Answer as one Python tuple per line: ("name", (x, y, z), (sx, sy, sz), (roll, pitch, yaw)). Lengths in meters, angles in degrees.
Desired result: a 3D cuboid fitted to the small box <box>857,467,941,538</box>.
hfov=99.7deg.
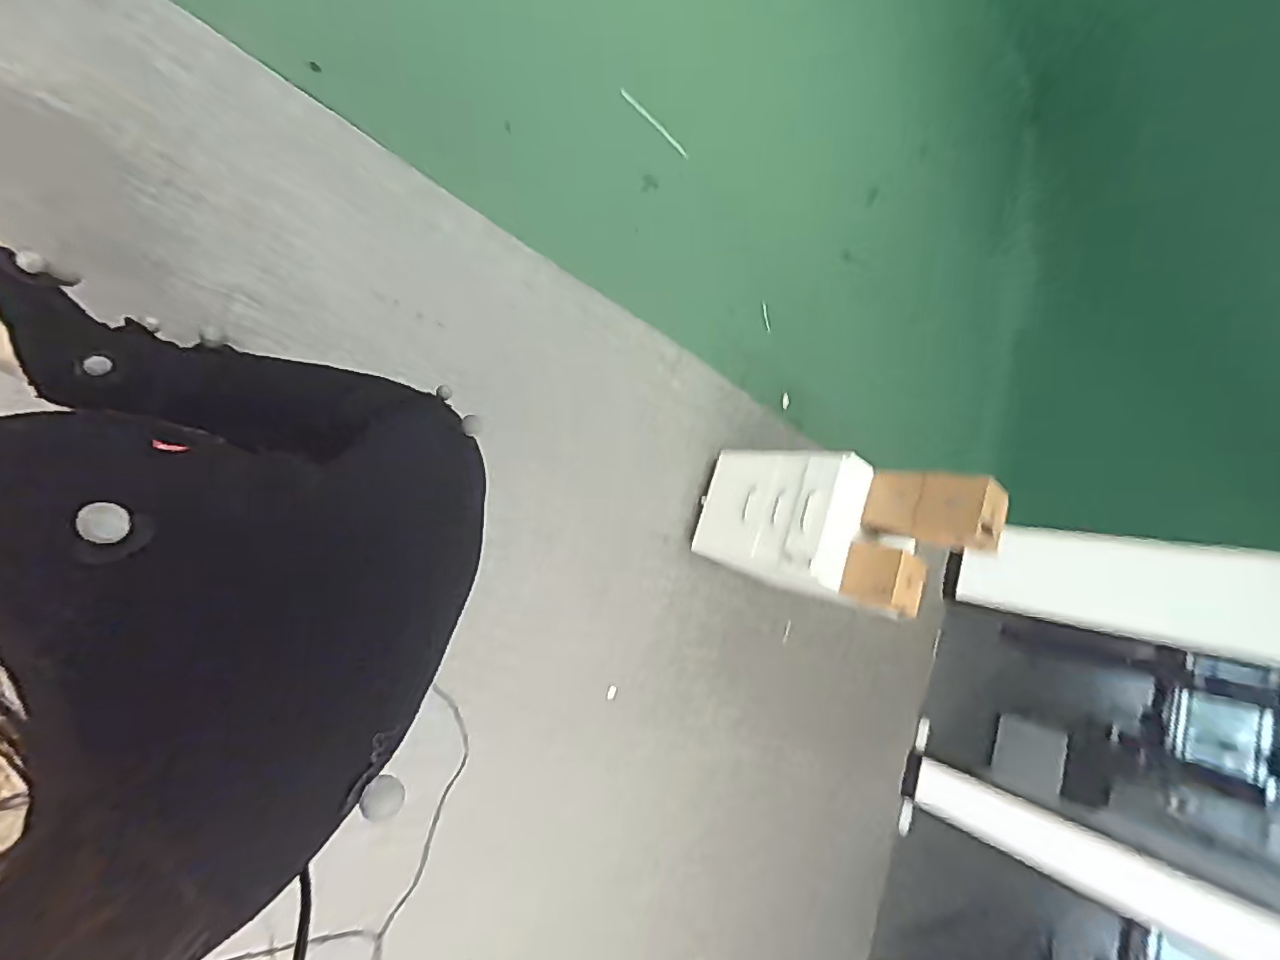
("small box", (0.806, 0.064, 1.690), (0.168, 0.176, 0.179), (25, 79, -36))
